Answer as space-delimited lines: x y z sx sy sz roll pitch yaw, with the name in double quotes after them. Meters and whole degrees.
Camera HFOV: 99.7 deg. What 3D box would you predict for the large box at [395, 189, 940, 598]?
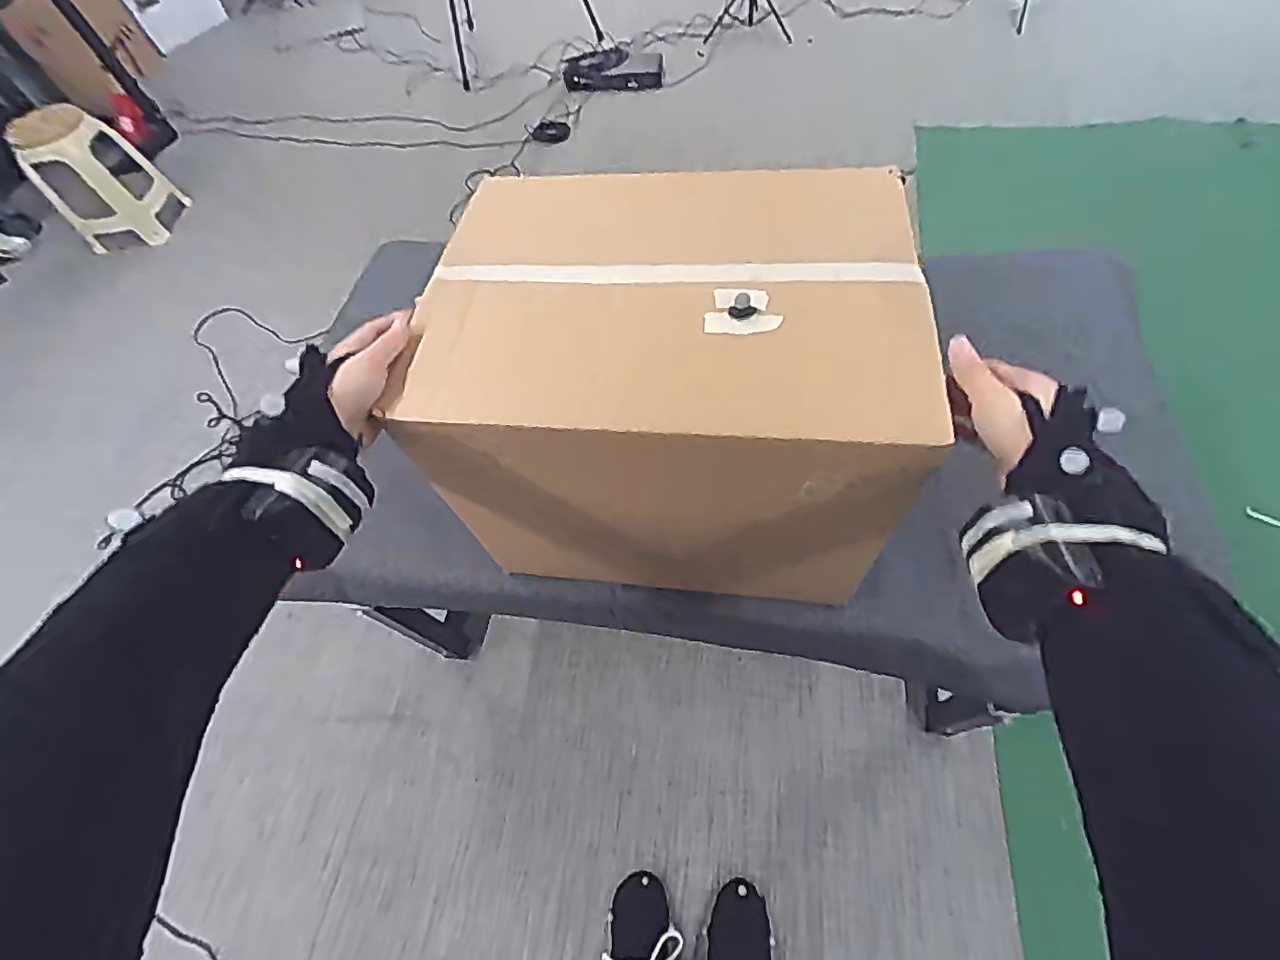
0.035 -0.081 0.589 0.408 0.320 0.320 3 58 8 "large box"
